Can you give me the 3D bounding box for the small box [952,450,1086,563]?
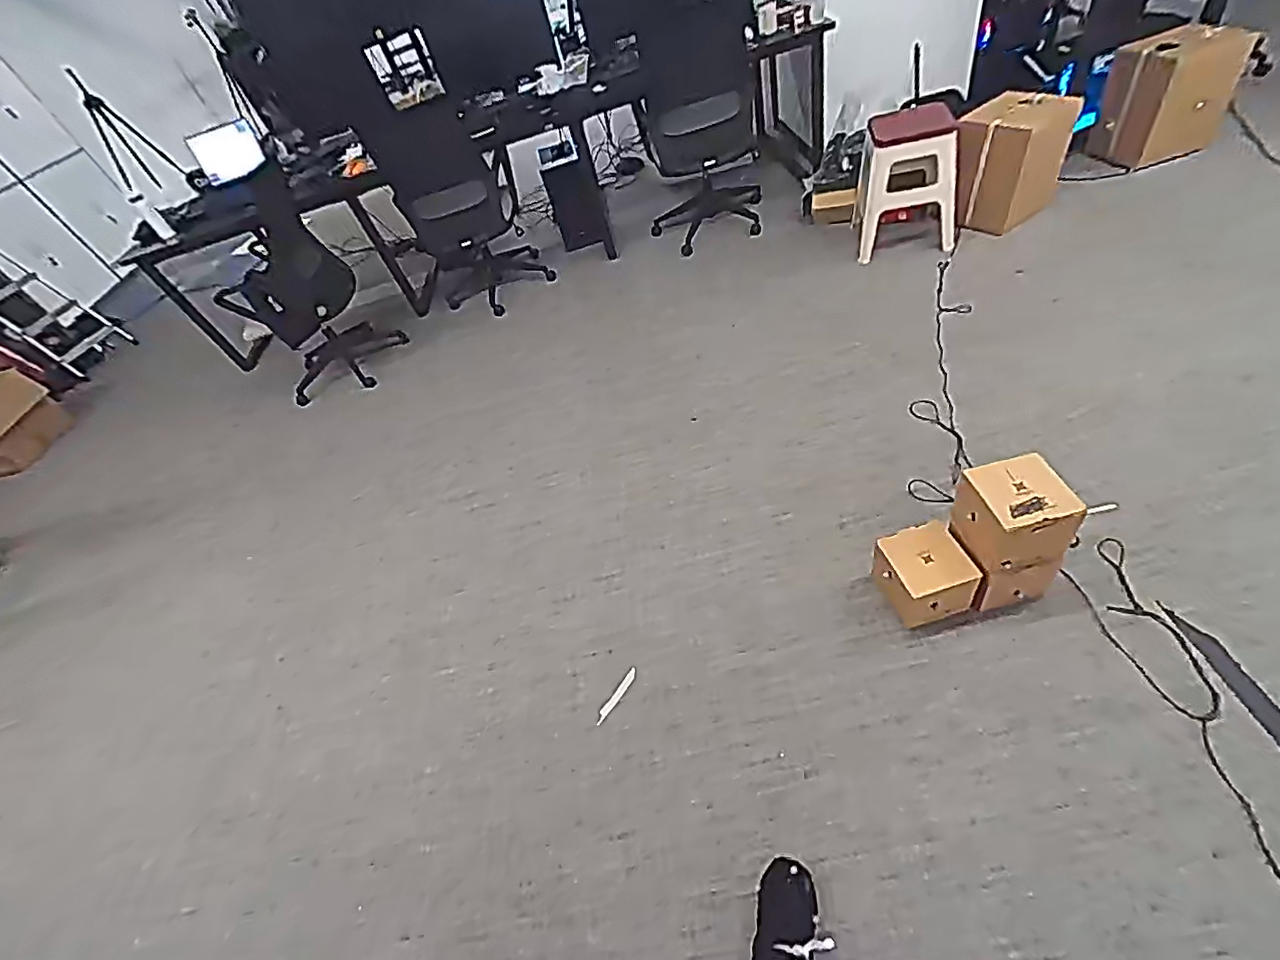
[{"bbox_3d":[0.824,0.067,1.198,0.168,0.176,0.179,-15,46,6],"label":"small box"}]
